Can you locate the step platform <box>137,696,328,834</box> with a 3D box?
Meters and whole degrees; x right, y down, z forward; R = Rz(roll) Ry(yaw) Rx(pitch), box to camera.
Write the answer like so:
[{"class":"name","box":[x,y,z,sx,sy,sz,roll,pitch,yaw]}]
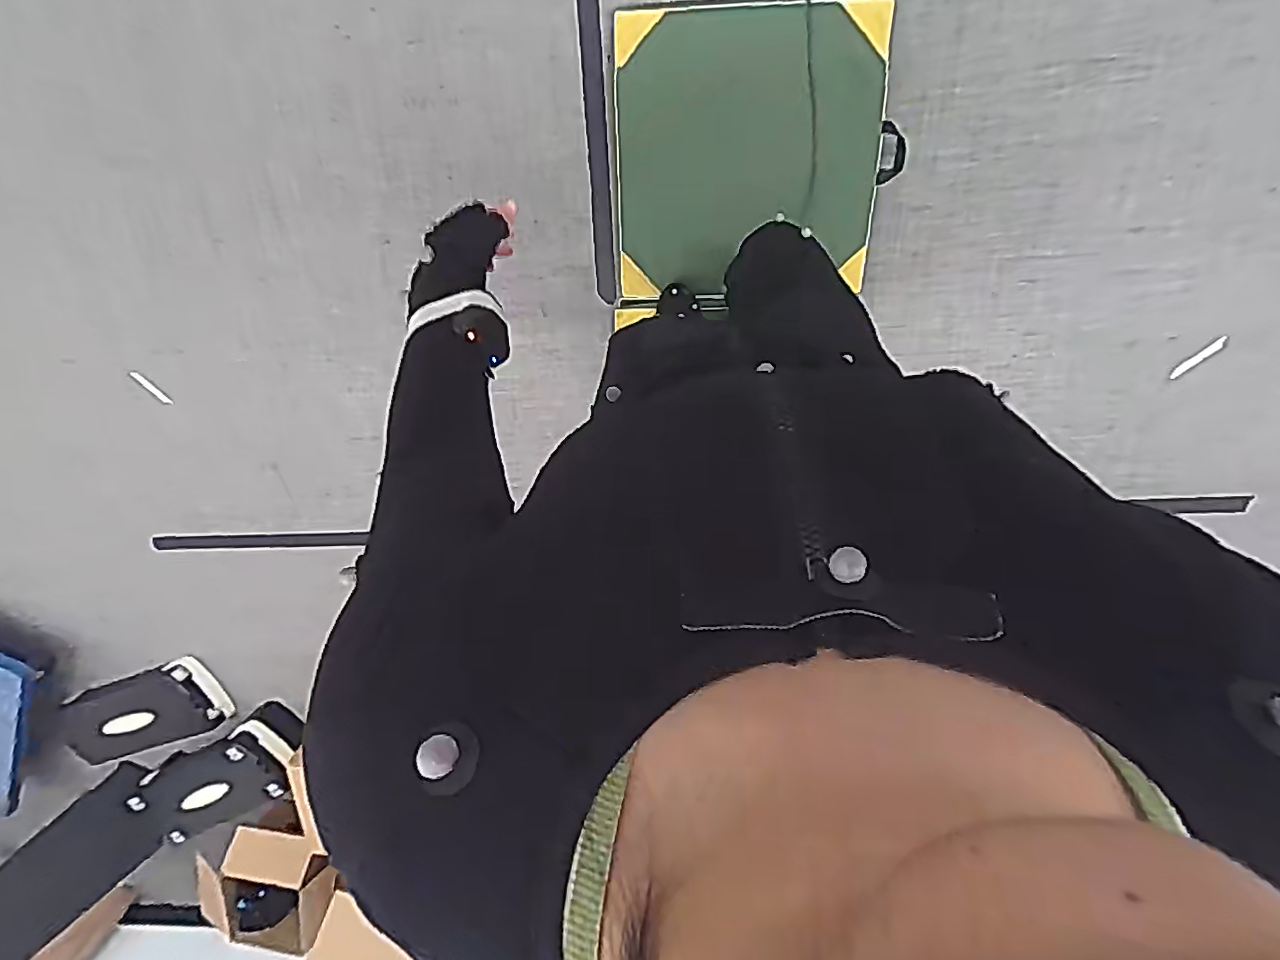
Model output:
[{"class":"step platform","box":[-1.567,1.103,2.078,0.684,0.204,0.286,-29,107,14]}]
